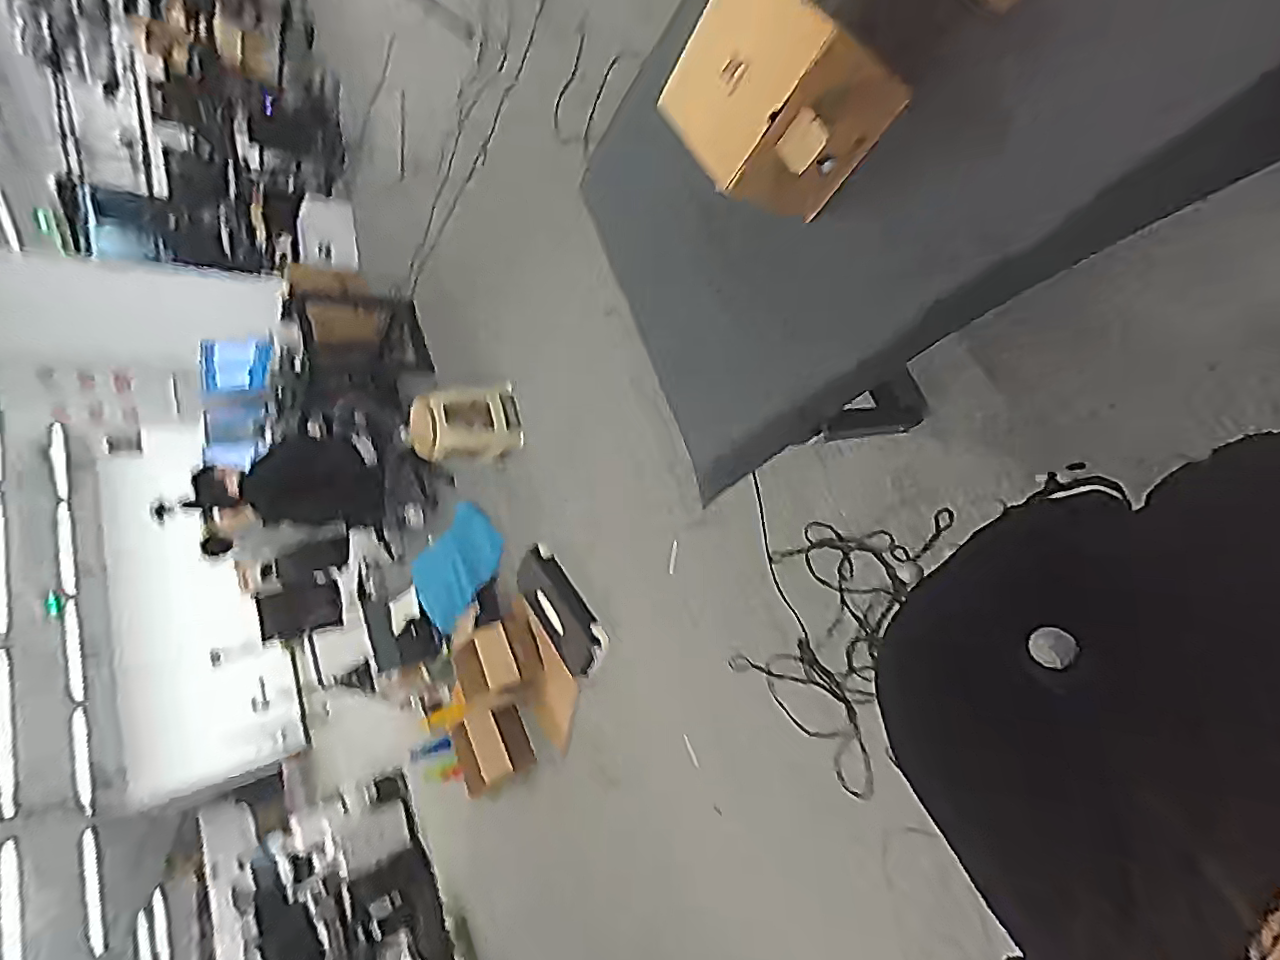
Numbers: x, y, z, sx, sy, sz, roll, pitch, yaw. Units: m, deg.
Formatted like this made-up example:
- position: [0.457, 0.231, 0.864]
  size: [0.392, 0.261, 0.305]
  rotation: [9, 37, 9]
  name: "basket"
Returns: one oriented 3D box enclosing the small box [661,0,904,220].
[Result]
- position: [0.161, -0.434, 0.630]
  size: [0.168, 0.176, 0.179]
  rotation: [-50, 60, 42]
  name: "small box"
